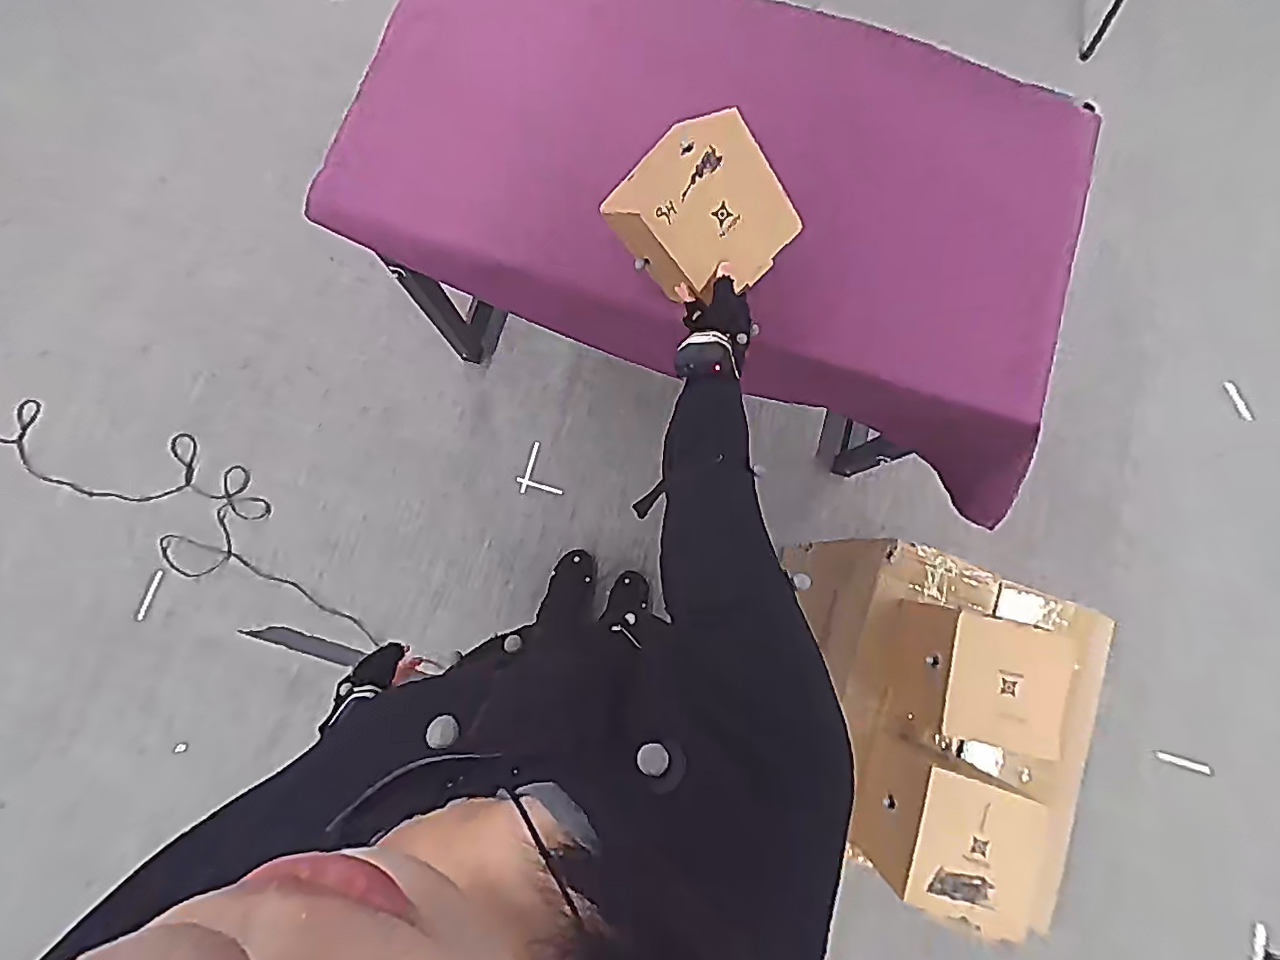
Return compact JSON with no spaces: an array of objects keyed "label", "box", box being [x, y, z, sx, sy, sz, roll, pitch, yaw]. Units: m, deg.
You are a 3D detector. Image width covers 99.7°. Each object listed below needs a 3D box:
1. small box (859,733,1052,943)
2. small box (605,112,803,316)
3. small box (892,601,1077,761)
[{"label":"small box","box":[0.441,0.499,0.783,0.168,0.176,0.179,18,79,2]},{"label":"small box","box":[0.081,-0.360,0.742,0.168,0.176,0.179,-46,124,5]},{"label":"small box","box":[0.508,0.288,0.819,0.168,0.176,0.179,13,82,2]}]
